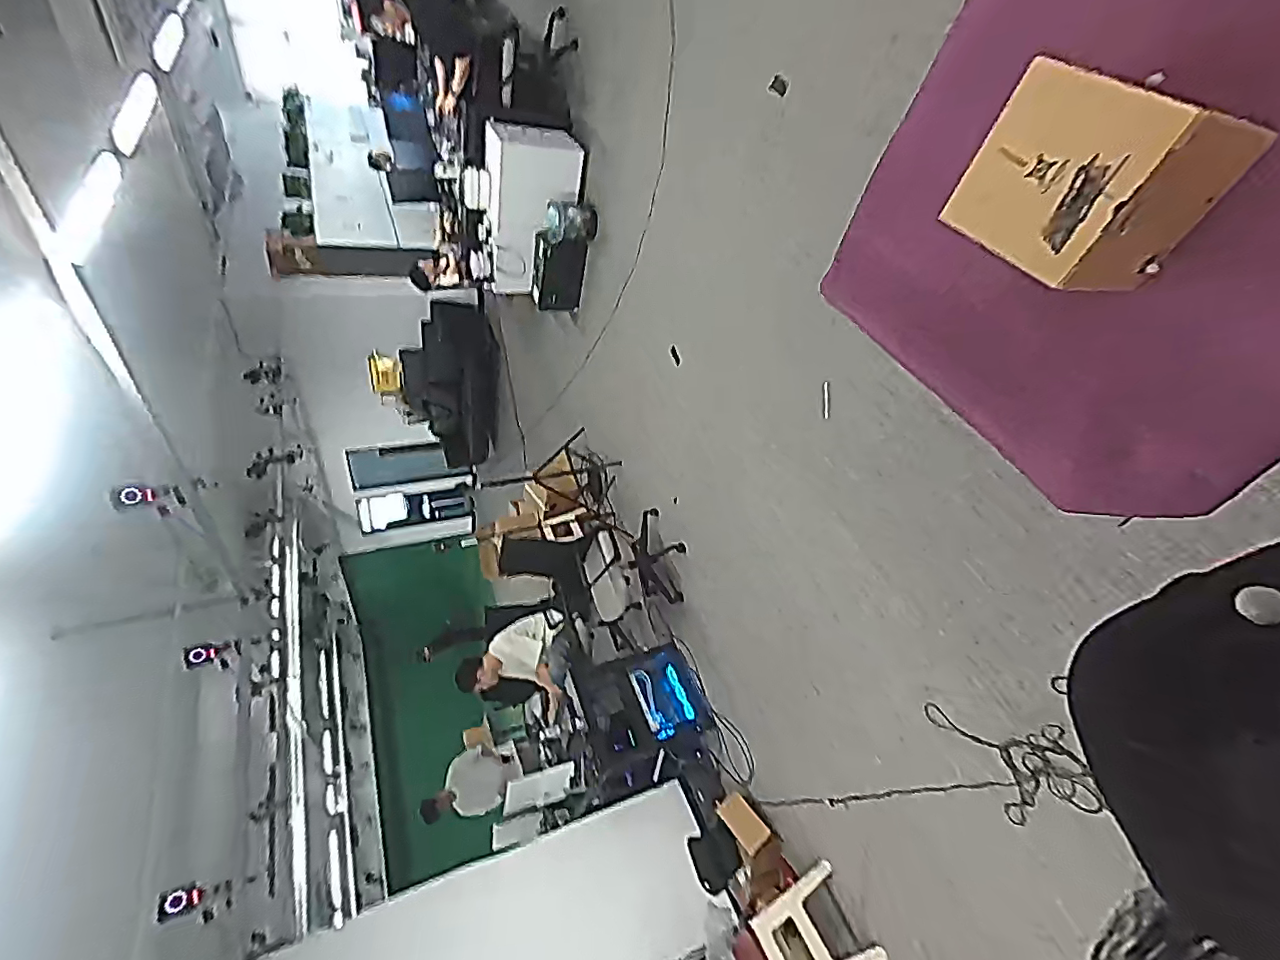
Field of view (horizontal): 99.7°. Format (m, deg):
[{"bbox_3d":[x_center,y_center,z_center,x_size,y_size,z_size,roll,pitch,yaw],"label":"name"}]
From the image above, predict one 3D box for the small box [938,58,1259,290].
[{"bbox_3d":[0.488,-0.327,0.592,0.179,0.176,0.168,62,148,35],"label":"small box"}]
